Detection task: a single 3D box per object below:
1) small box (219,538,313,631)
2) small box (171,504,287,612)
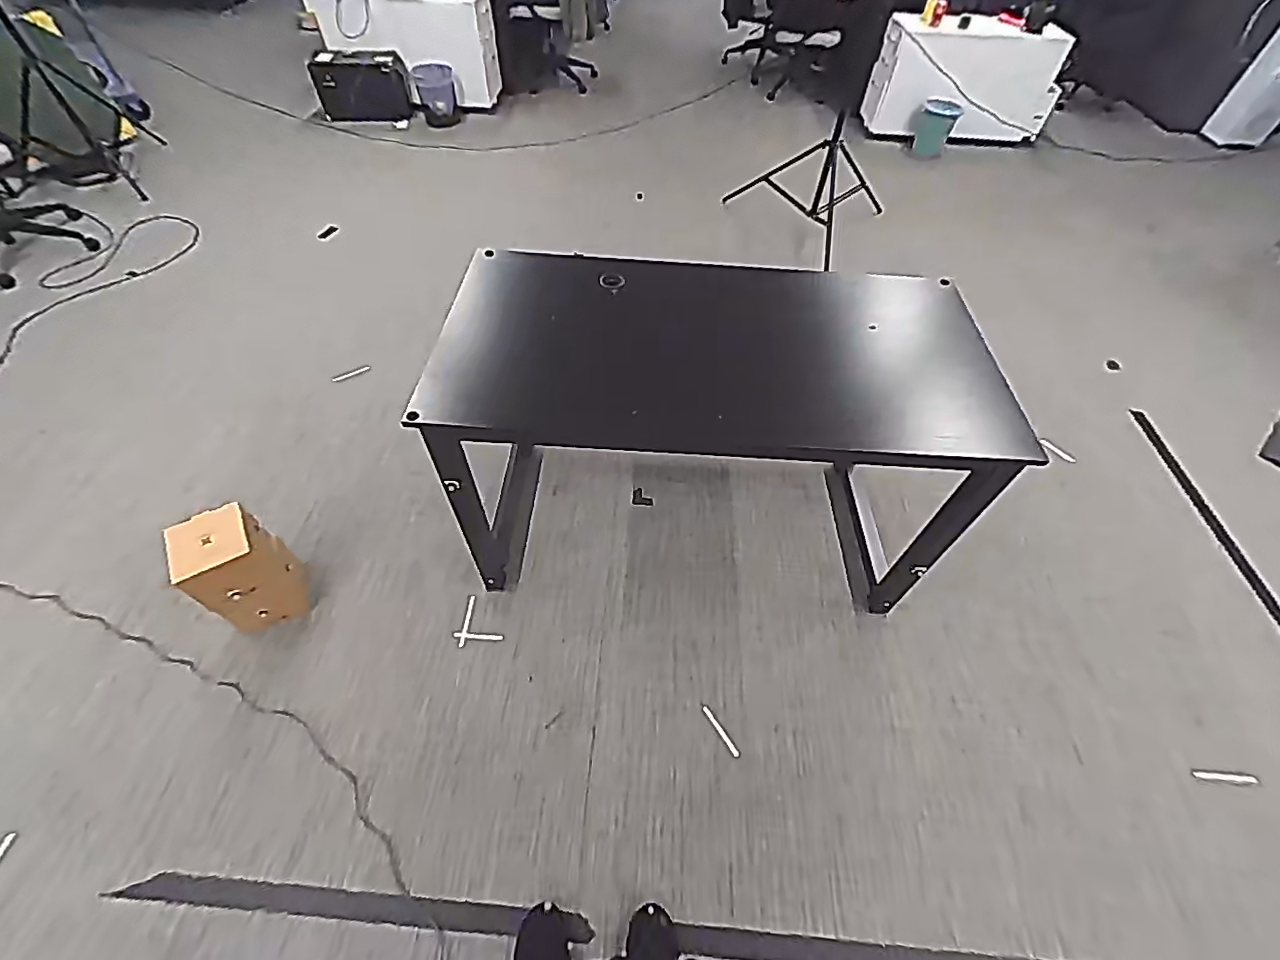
[{"bbox_3d":[-1.037,0.297,1.499,0.168,0.176,0.179,-22,56,-19],"label":"small box"},{"bbox_3d":[-1.033,0.200,1.368,0.168,0.176,0.179,-27,59,-20],"label":"small box"}]
